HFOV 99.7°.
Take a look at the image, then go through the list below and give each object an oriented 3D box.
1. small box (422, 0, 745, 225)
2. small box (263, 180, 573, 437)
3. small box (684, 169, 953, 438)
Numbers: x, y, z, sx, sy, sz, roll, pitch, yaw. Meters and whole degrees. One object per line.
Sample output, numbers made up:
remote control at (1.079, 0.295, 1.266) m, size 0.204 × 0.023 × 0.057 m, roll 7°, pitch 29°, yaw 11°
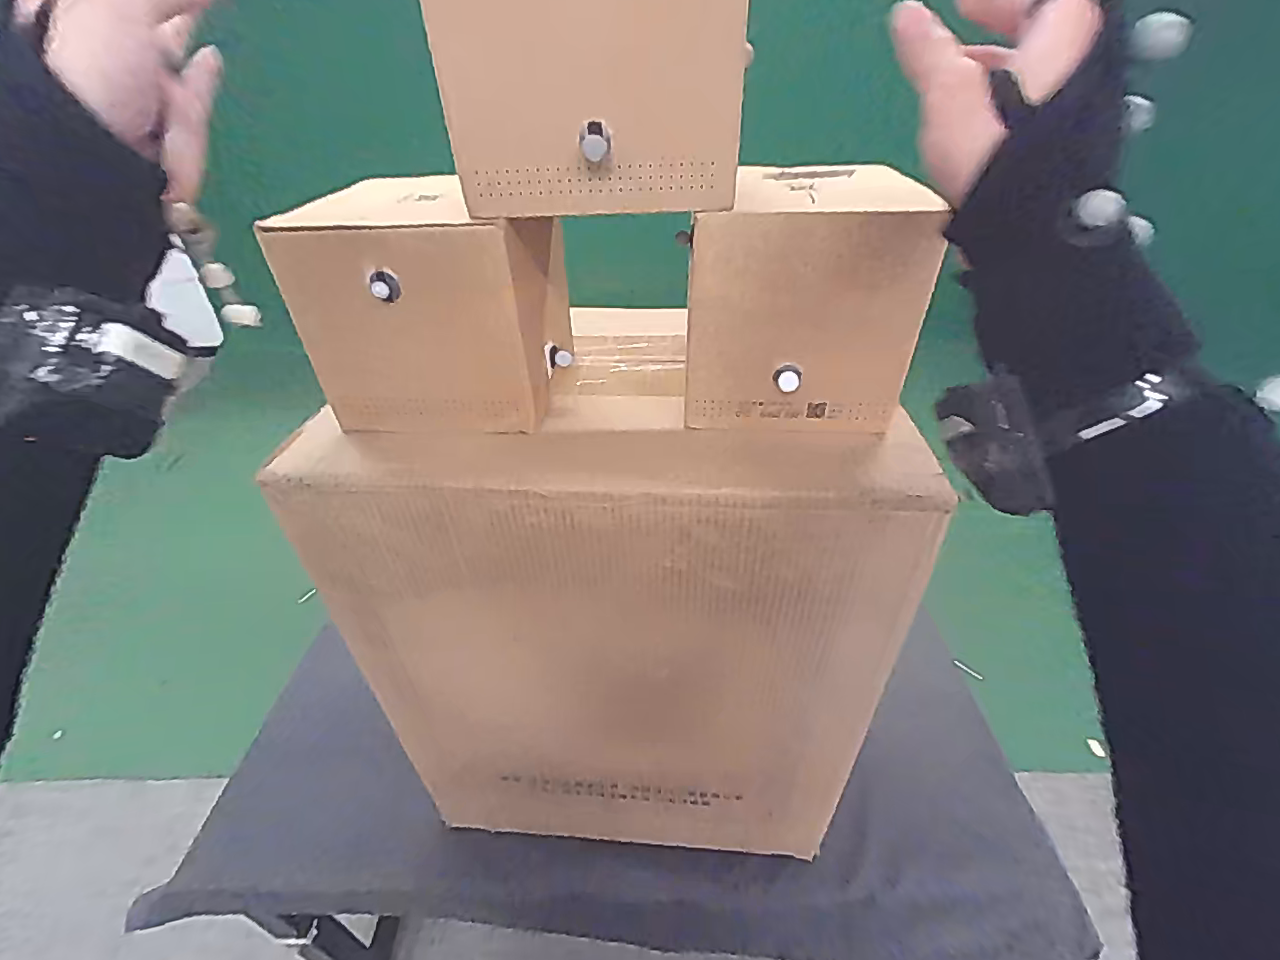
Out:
small box at (-0.027, -0.281, 0.363) m, size 0.179 × 0.176 × 0.168 m, roll 0°, pitch 39°, yaw 1°
small box at (-0.163, -0.150, 0.470) m, size 0.179 × 0.176 × 0.168 m, roll 3°, pitch 40°, yaw 3°
small box at (0.124, -0.155, 0.460) m, size 0.168 × 0.176 × 0.179 m, roll 2°, pitch 39°, yaw 4°
